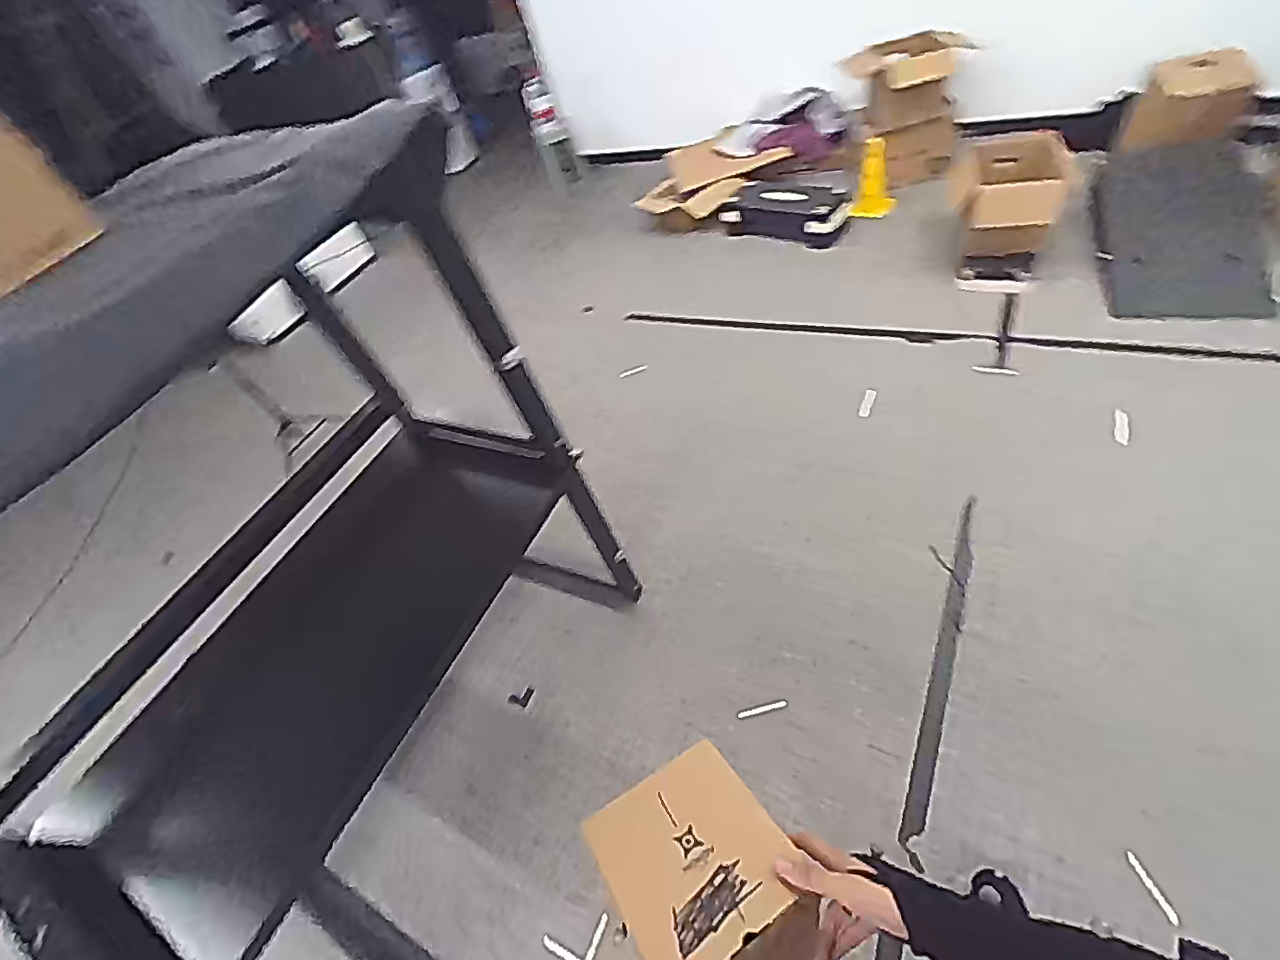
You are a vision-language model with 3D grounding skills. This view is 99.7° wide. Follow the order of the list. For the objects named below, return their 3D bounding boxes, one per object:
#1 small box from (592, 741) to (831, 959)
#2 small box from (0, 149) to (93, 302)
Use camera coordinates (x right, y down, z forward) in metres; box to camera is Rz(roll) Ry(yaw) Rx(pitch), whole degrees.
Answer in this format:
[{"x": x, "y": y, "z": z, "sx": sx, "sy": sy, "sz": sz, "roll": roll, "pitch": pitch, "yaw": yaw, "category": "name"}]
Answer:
[{"x": 0.074, "y": 0.425, "z": 0.560, "sx": 0.168, "sy": 0.176, "sz": 0.179, "roll": -24, "pitch": 34, "yaw": -22, "category": "small box"}, {"x": -0.900, "y": -0.334, "z": 0.704, "sx": 0.179, "sy": 0.176, "sz": 0.168, "roll": 3, "pitch": 53, "yaw": 21, "category": "small box"}]
